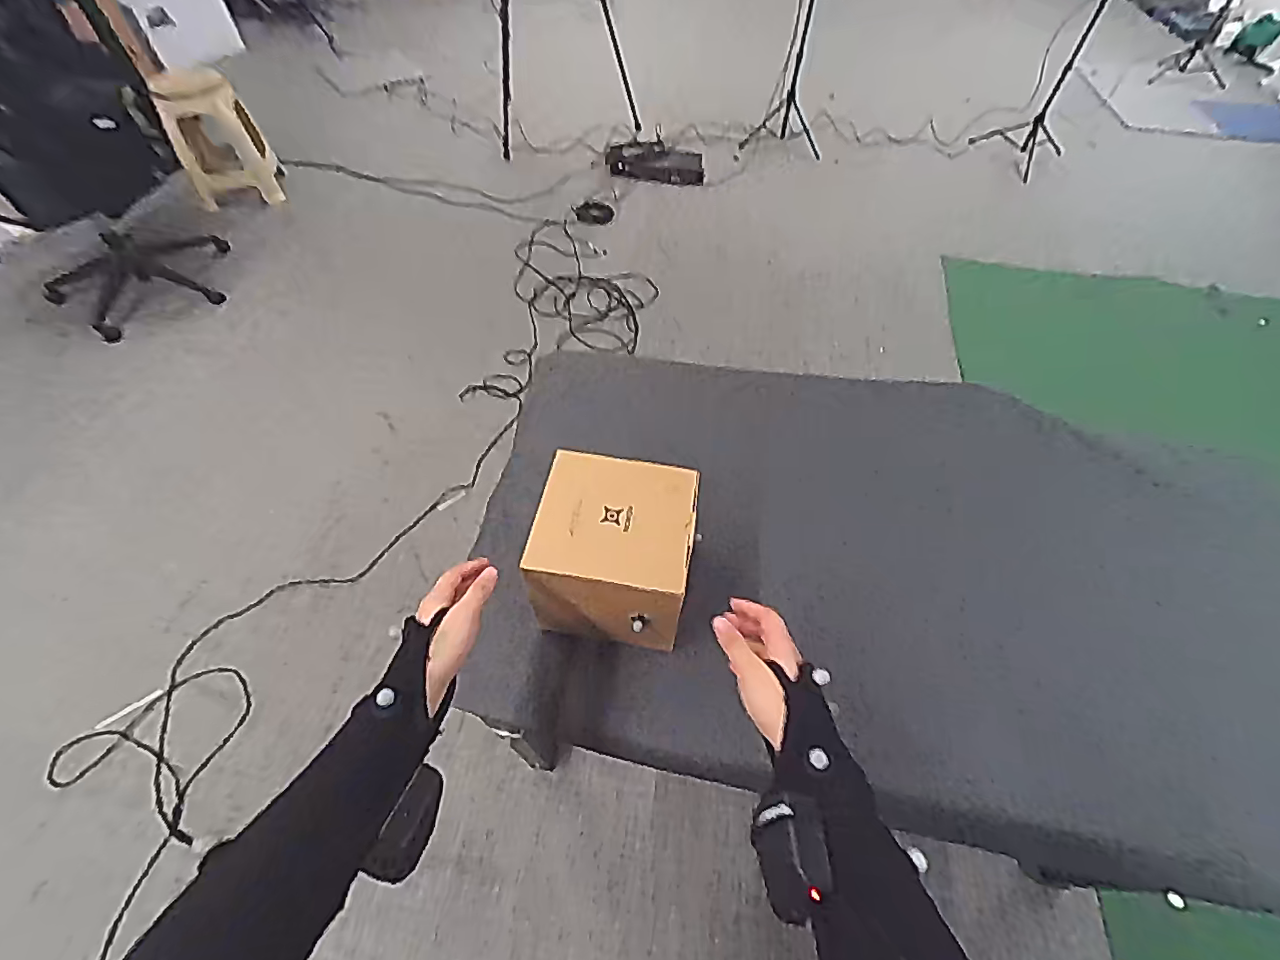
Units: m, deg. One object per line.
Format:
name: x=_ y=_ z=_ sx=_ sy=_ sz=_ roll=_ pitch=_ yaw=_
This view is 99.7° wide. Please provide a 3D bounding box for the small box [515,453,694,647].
small box: x=-0.034 y=0.091 z=0.663 sx=0.179 sy=0.176 sz=0.168 roll=7 pitch=52 yaw=5
